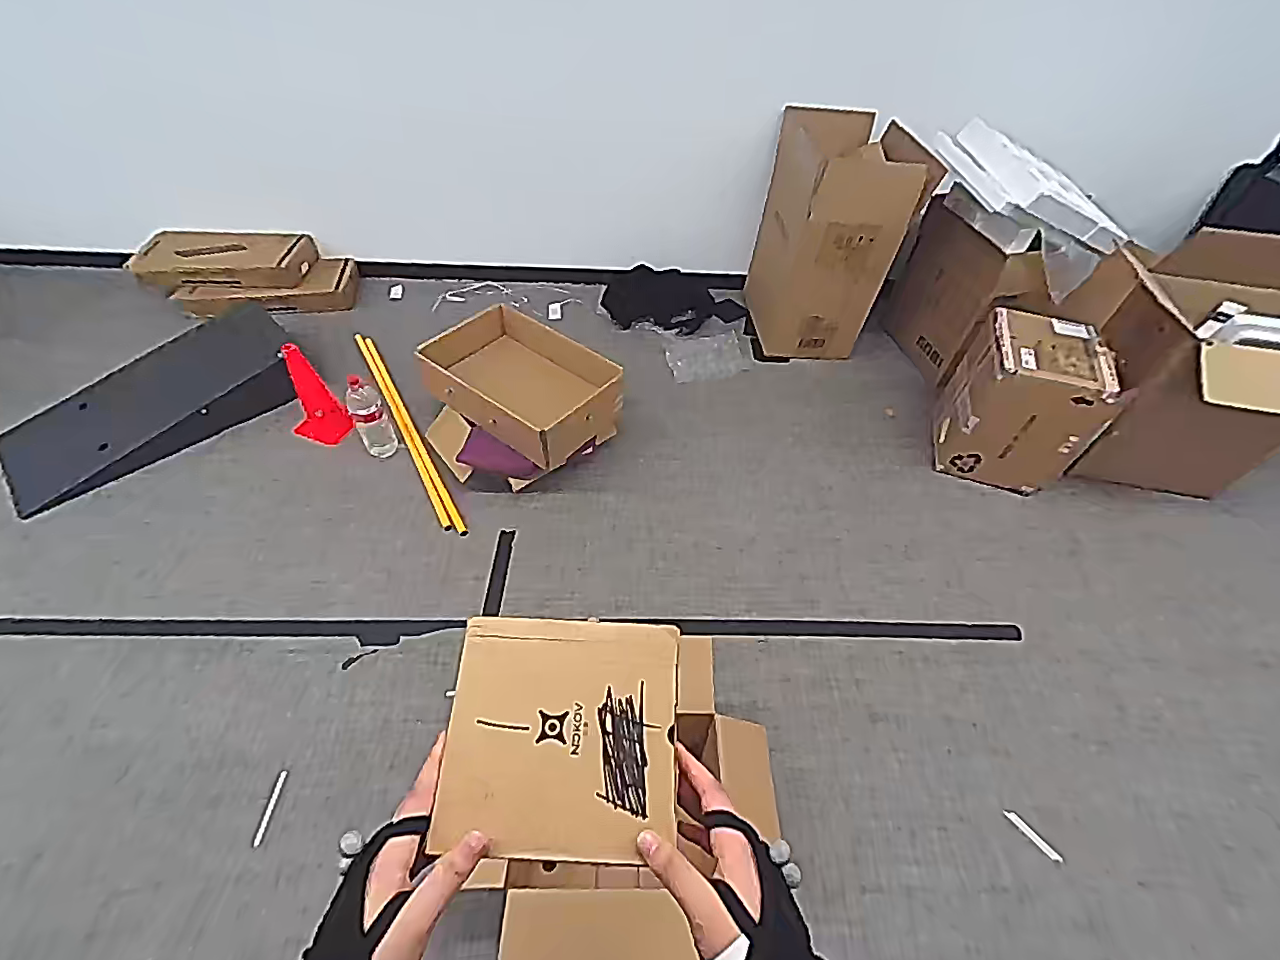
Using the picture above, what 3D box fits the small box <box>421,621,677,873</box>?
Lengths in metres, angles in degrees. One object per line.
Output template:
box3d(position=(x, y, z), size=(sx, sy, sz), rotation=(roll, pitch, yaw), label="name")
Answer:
box3d(position=(-0.063, 0.230, 0.479), size=(0.179, 0.176, 0.168), rotation=(3, 62, 0), label="small box")
